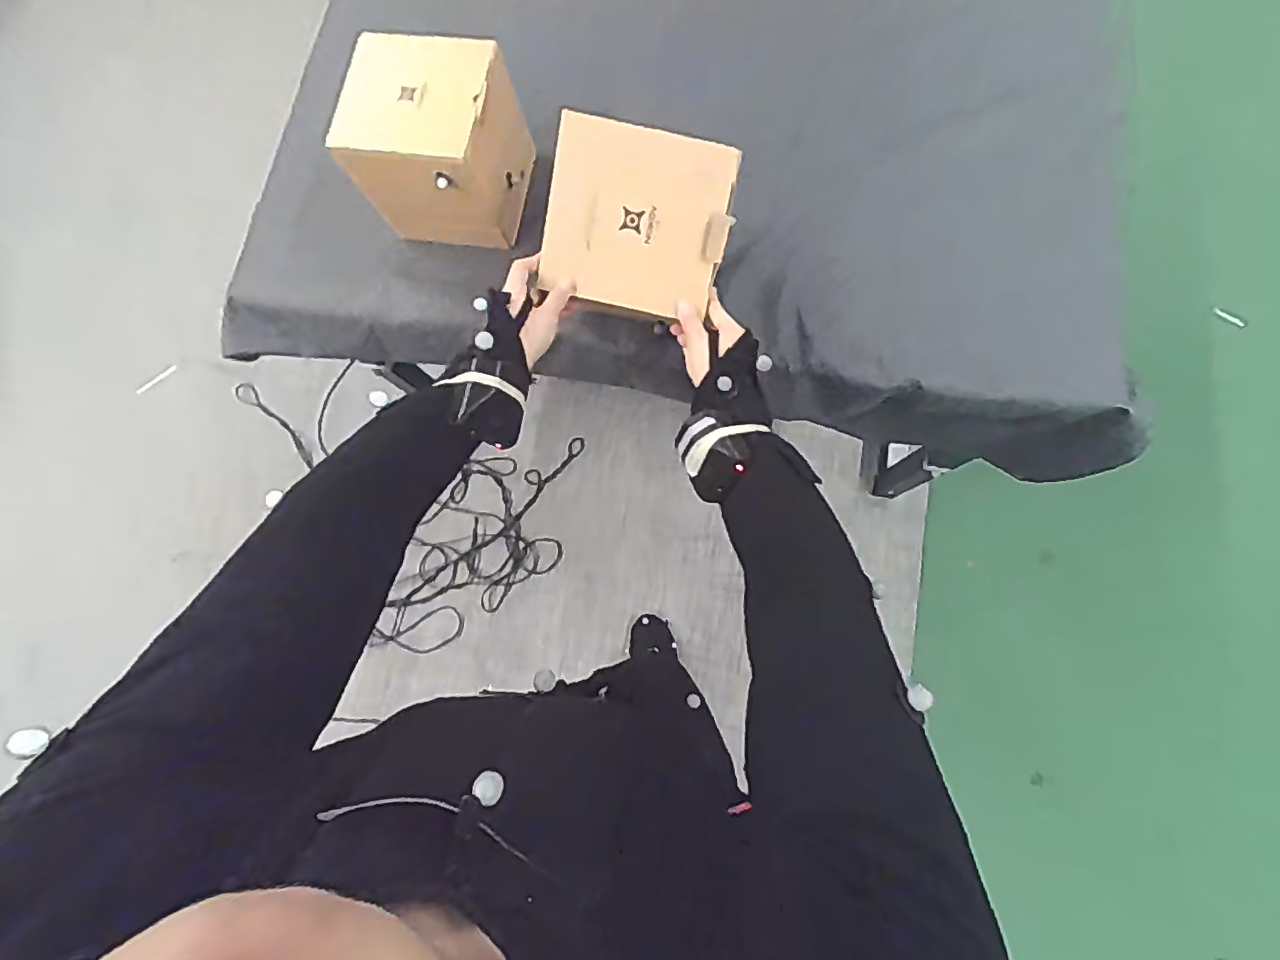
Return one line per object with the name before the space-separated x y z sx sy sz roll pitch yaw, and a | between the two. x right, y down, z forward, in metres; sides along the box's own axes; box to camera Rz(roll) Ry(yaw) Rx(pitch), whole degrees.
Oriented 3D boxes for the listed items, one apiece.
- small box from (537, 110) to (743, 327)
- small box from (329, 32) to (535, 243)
small box | 0.000 -0.269 0.601 0.179 0.176 0.168 11 102 0
small box | -0.257 -0.437 0.711 0.179 0.176 0.168 9 79 7
